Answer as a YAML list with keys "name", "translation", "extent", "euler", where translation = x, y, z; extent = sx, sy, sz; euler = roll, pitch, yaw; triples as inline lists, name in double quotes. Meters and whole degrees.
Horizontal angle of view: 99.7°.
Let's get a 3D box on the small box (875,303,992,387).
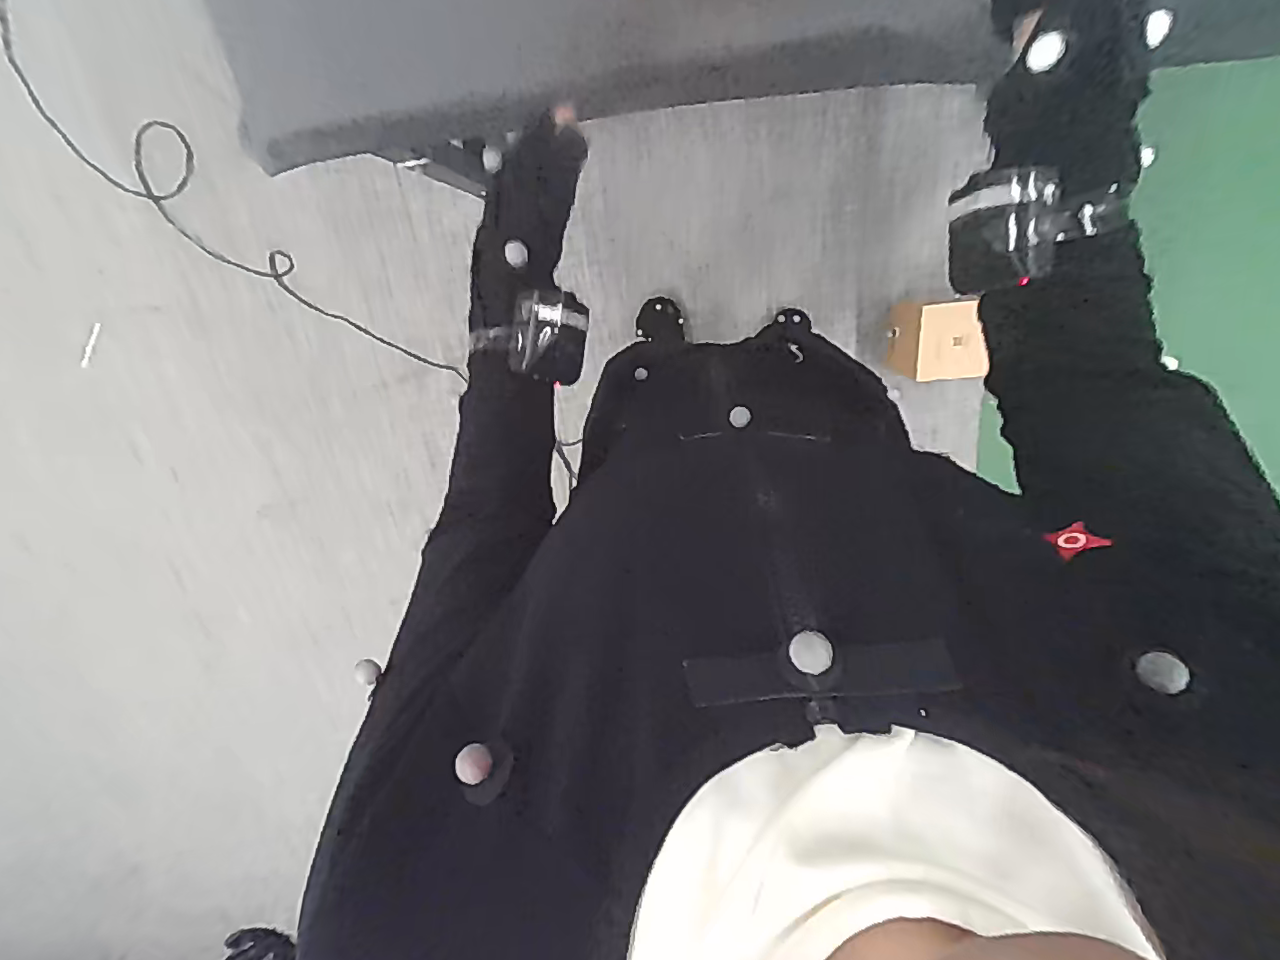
- name: "small box"
  translation: [0.676, -0.320, 1.263]
  extent: [0.179, 0.176, 0.168]
  euler: [-4, 110, 3]
